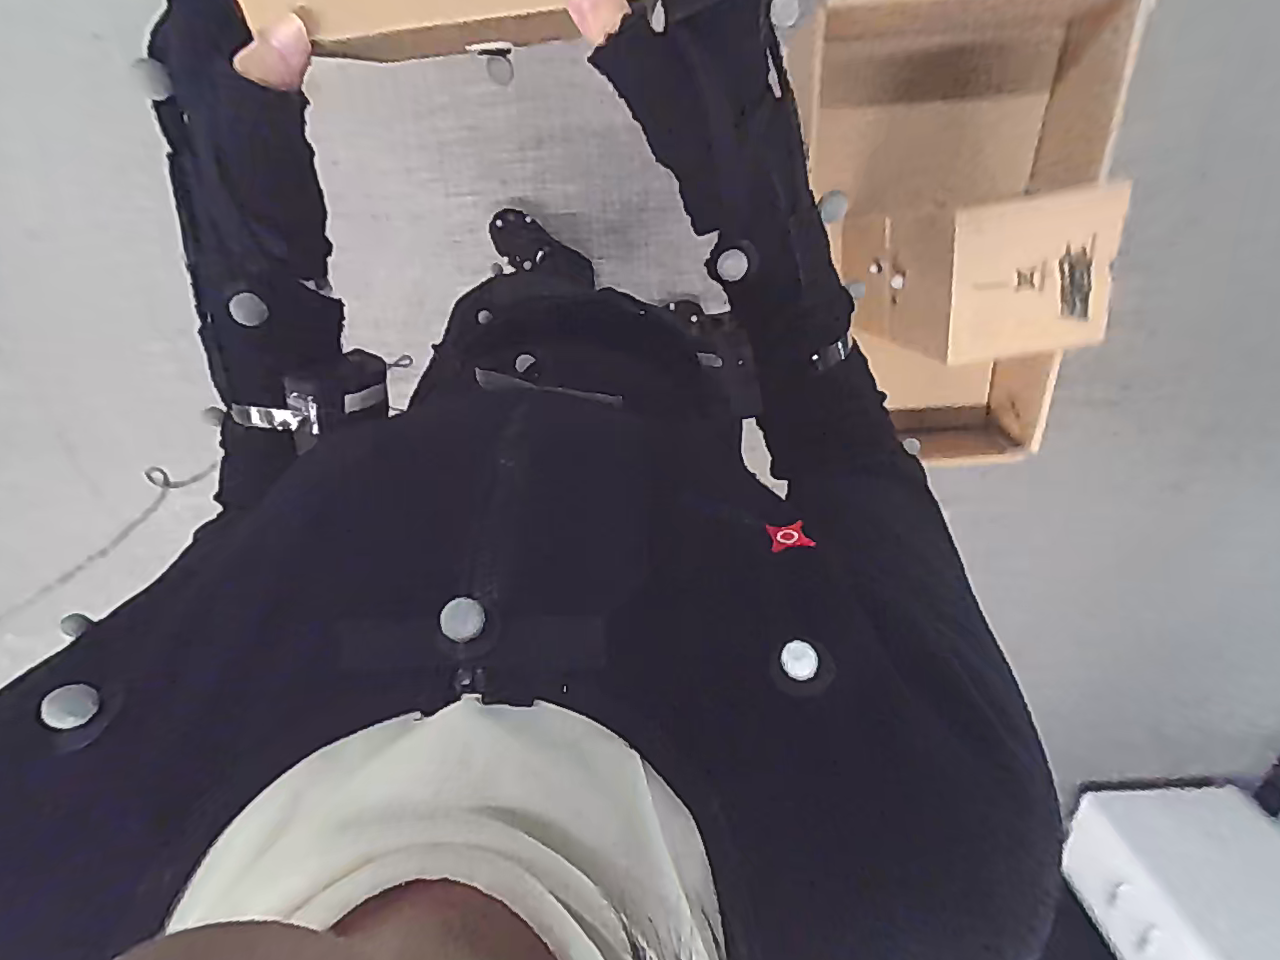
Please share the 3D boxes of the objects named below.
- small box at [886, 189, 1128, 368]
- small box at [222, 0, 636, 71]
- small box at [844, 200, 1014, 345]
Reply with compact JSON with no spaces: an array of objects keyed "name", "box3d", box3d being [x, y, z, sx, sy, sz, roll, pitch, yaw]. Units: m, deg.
[{"name":"small box","box3d":[0.426,-0.245,0.661,0.179,0.176,0.168,-8,112,5]},{"name":"small box","box3d":[-0.093,-0.301,0.236,0.168,0.176,0.179,-6,125,4]},{"name":"small box","box3d":[0.424,-0.311,0.812,0.179,0.176,0.168,-9,112,4]}]
